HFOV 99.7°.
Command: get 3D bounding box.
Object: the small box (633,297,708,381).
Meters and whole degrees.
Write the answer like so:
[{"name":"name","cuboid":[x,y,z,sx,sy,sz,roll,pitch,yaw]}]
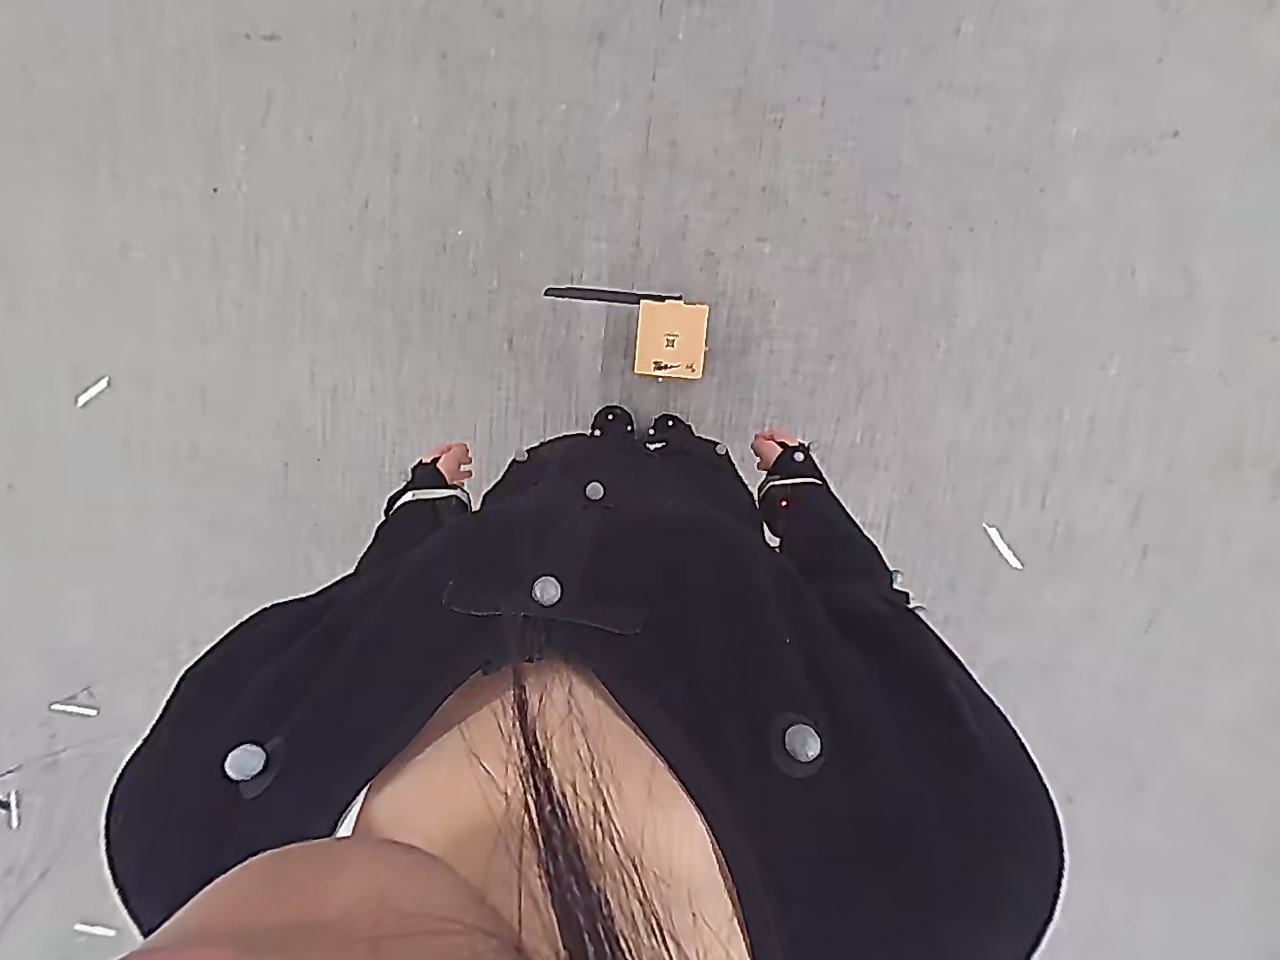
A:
[{"name":"small box","cuboid":[0.074,-0.350,1.369,0.168,0.176,0.179,5,97,2]}]
